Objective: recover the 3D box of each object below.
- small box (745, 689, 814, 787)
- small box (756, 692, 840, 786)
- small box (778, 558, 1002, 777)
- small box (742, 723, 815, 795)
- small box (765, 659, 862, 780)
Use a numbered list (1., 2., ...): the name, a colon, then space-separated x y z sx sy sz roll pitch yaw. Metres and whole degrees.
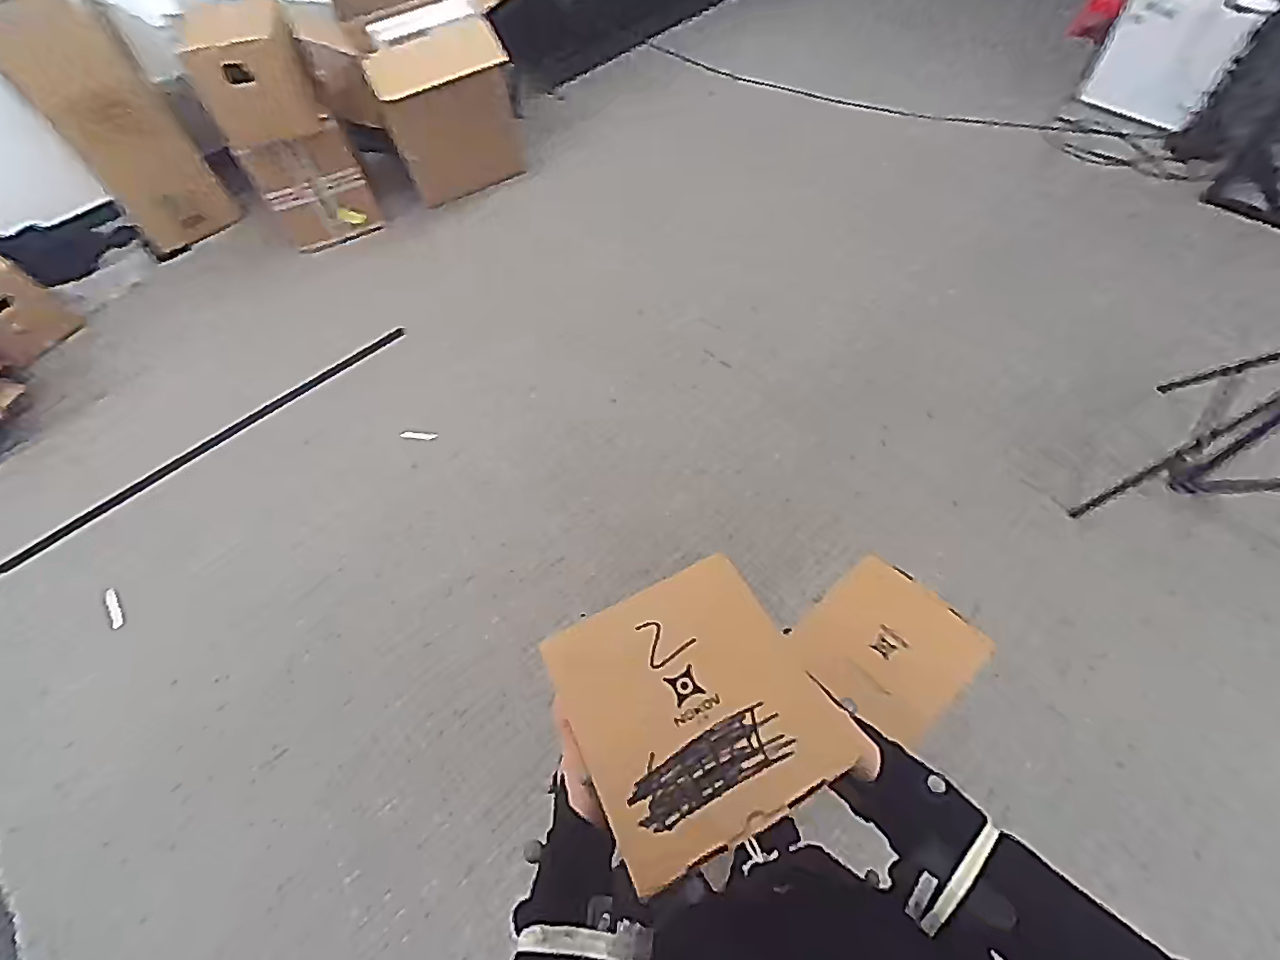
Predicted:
1. small box: 0.328 0.489 1.086 0.168 0.176 0.179 -36 61 -14
2. small box: 0.320 0.408 0.945 0.179 0.176 0.168 -37 61 -14
3. small box: 0.289 0.235 0.670 0.179 0.176 0.168 -40 61 -16
4. small box: 0.351 0.577 1.223 0.168 0.176 0.179 -38 62 -16
5. small box: 0.303 0.319 0.808 0.179 0.176 0.168 -37 61 -16
